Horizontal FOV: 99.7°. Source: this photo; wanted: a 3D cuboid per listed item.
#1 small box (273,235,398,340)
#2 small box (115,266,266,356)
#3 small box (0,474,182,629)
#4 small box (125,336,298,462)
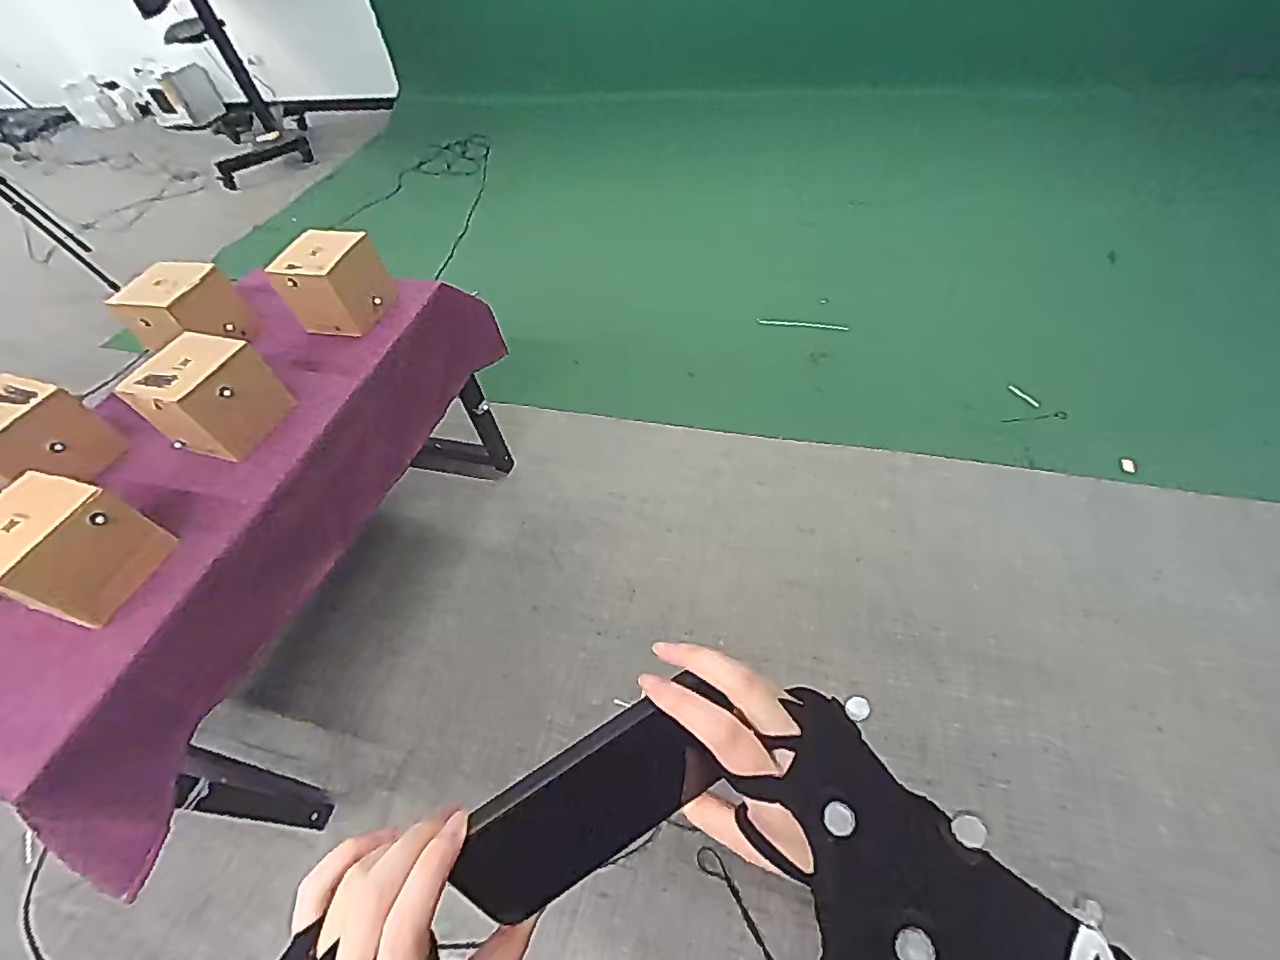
[{"bbox_3d":[-0.712,-0.460,1.293,0.168,0.176,0.179,8,54,14],"label":"small box"},{"bbox_3d":[-1.048,-0.382,1.277,0.179,0.176,0.168,7,55,12],"label":"small box"},{"bbox_3d":[-0.918,0.119,0.877,0.168,0.176,0.179,10,54,15],"label":"small box"},{"bbox_3d":[-0.837,-0.159,1.079,0.168,0.176,0.179,12,54,16],"label":"small box"}]
